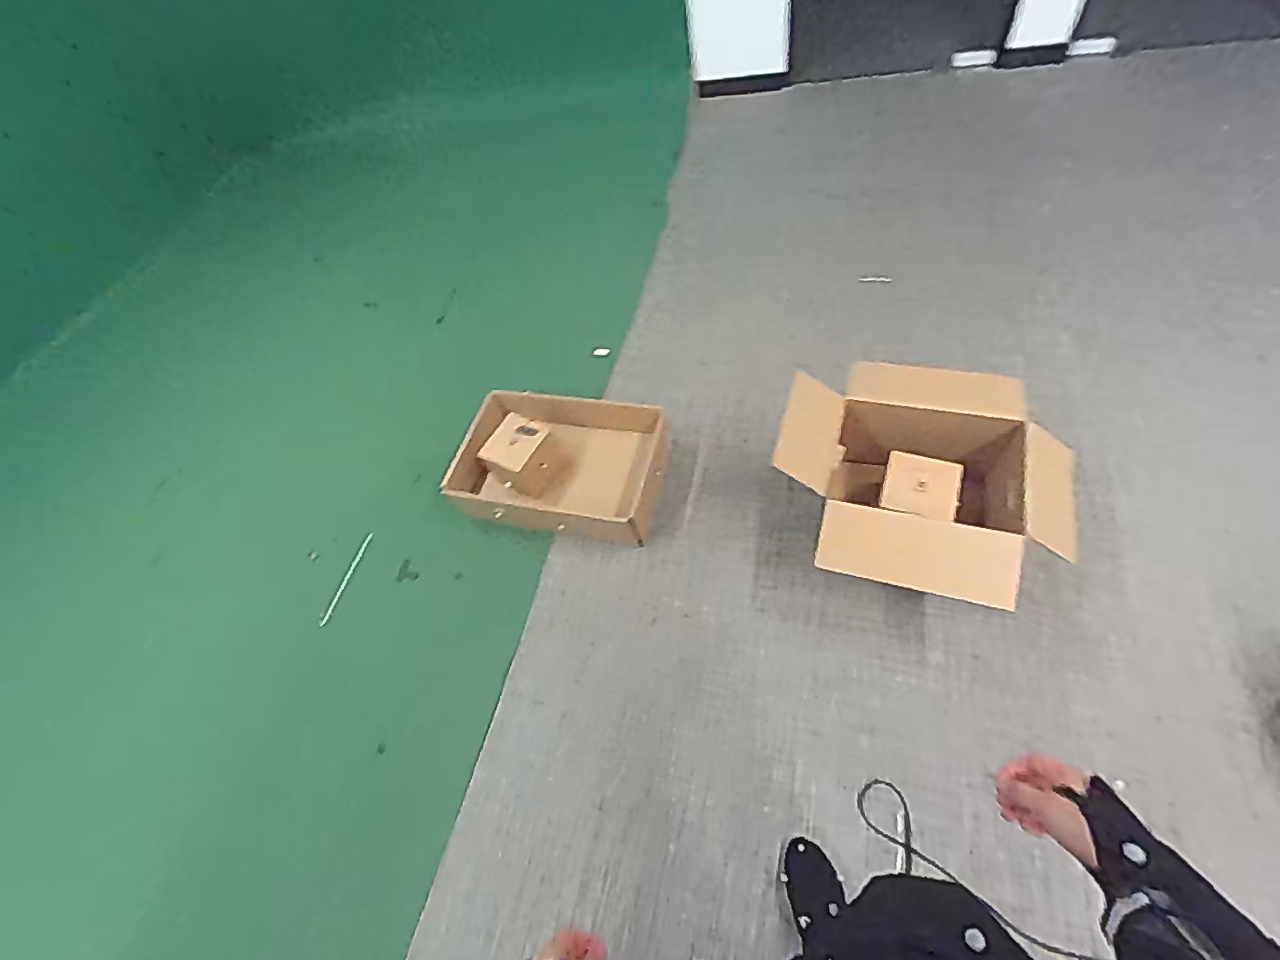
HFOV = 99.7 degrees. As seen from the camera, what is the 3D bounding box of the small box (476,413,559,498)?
[{"bbox_3d":[-0.374,-0.076,1.701,0.168,0.176,0.179,22,66,23],"label":"small box"}]
